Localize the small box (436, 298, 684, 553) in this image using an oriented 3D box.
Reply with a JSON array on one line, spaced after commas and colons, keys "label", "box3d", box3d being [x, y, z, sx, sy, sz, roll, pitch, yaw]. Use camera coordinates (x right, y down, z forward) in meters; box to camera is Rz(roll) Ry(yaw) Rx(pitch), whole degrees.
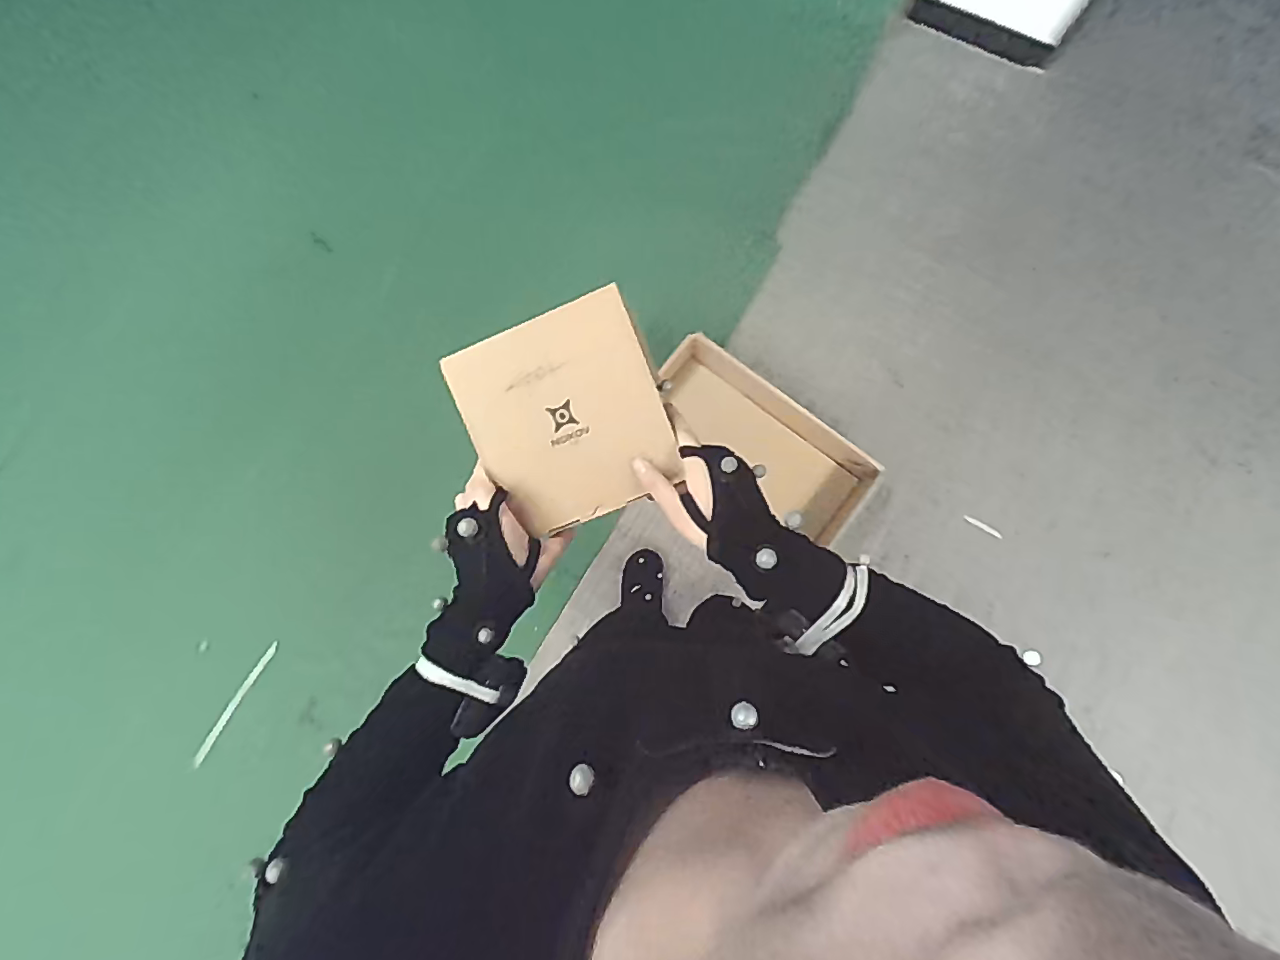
[{"label": "small box", "box3d": [-0.060, -0.054, 0.534, 0.168, 0.176, 0.179, -22, 96, 7]}]
